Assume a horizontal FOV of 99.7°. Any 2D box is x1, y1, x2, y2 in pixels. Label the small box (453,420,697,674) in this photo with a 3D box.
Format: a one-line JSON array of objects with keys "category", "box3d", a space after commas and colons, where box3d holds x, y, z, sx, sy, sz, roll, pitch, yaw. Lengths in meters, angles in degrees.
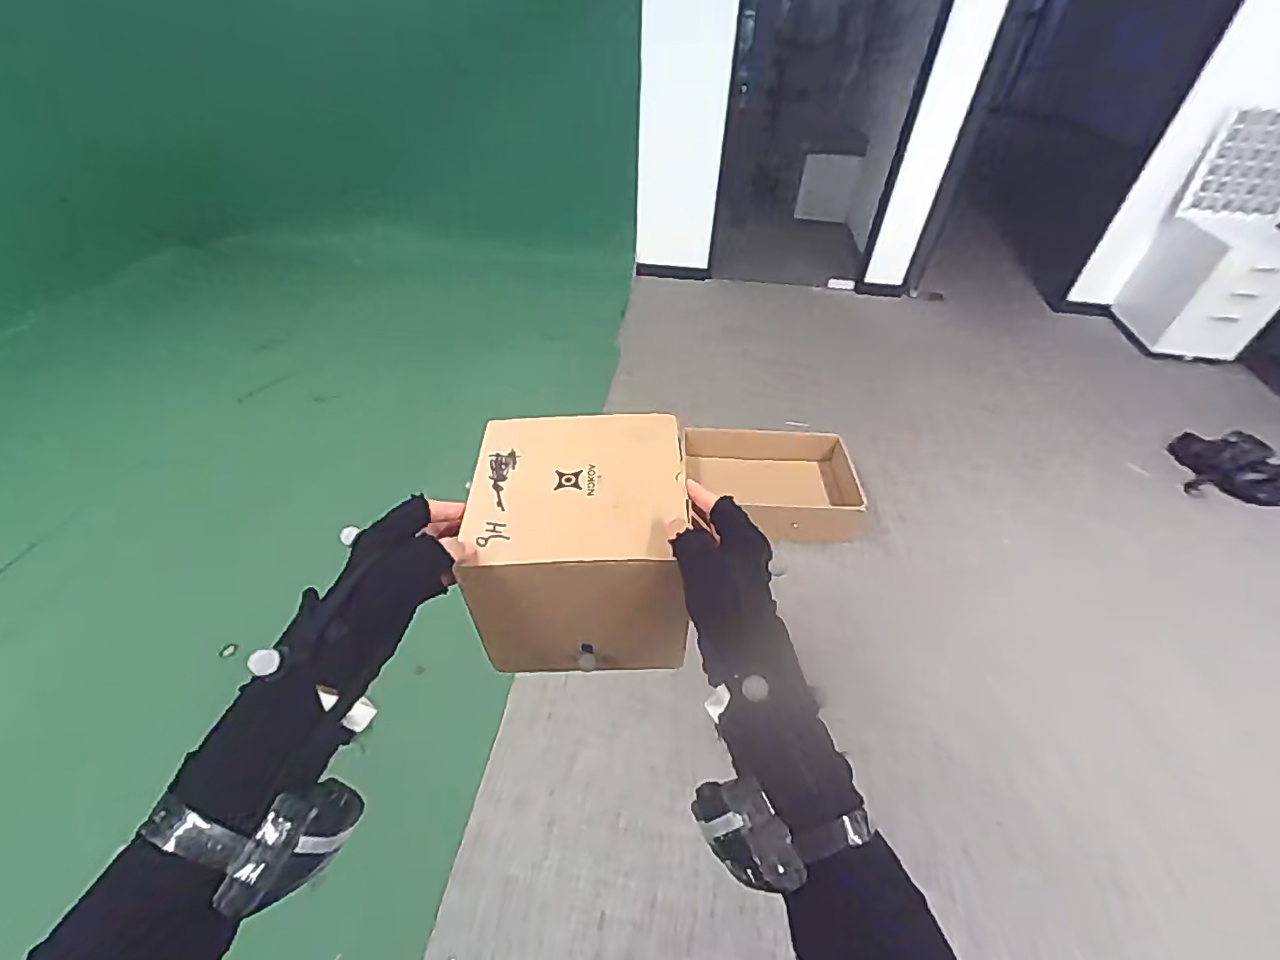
[{"category": "small box", "box3d": [-0.049, 0.063, 0.495, 0.179, 0.176, 0.168, 0, 43, -2]}]
